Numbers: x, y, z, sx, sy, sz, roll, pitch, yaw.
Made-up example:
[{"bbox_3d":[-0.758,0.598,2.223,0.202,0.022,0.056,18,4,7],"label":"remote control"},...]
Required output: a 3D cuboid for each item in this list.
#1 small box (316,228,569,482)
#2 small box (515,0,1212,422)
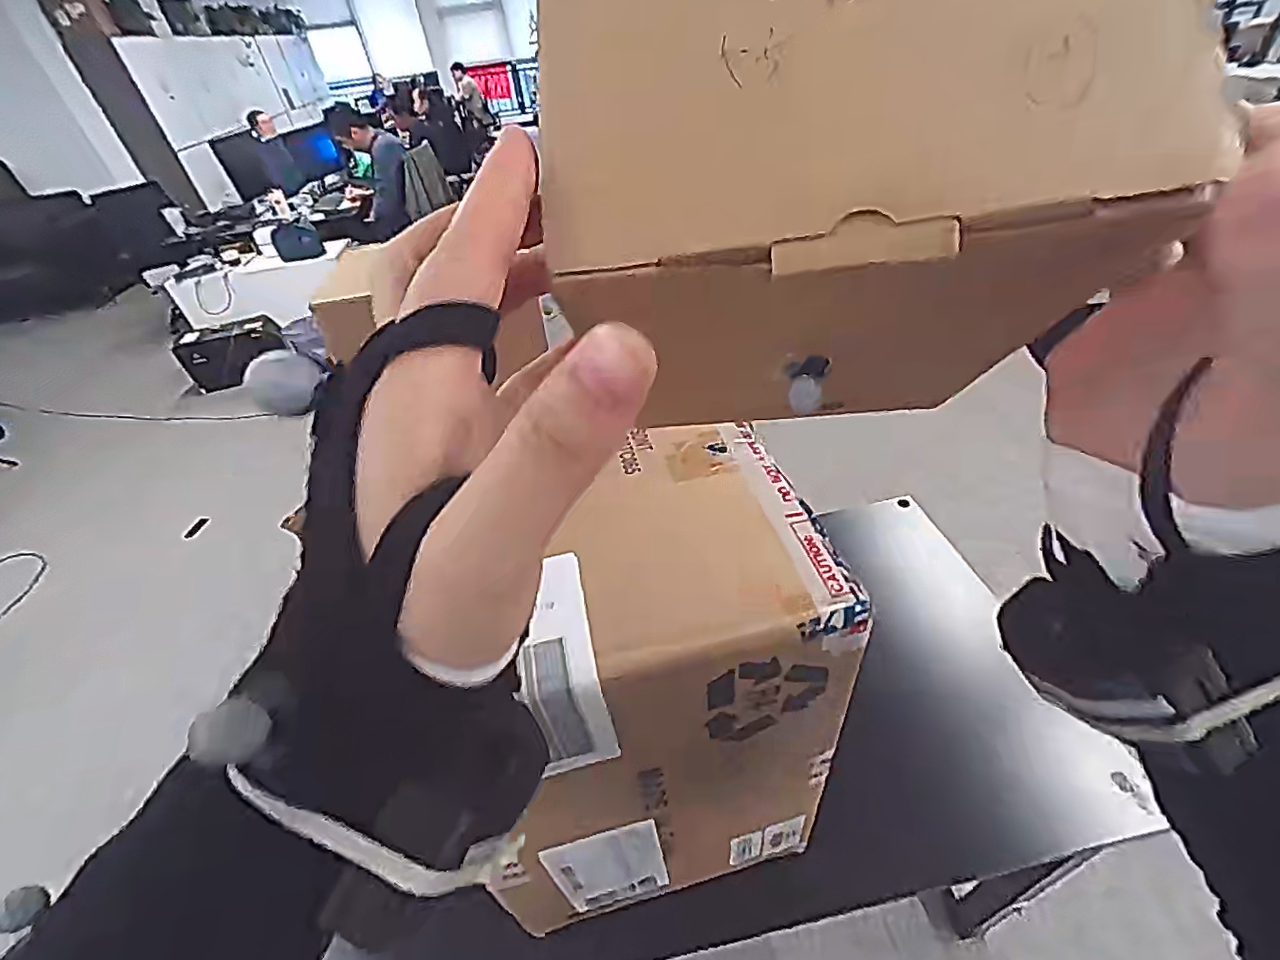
[{"bbox_3d":[-0.171,-0.123,0.516,0.168,0.176,0.179,-14,39,-8],"label":"small box"},{"bbox_3d":[0.058,-0.125,0.223,0.168,0.176,0.179,-3,82,8],"label":"small box"}]
